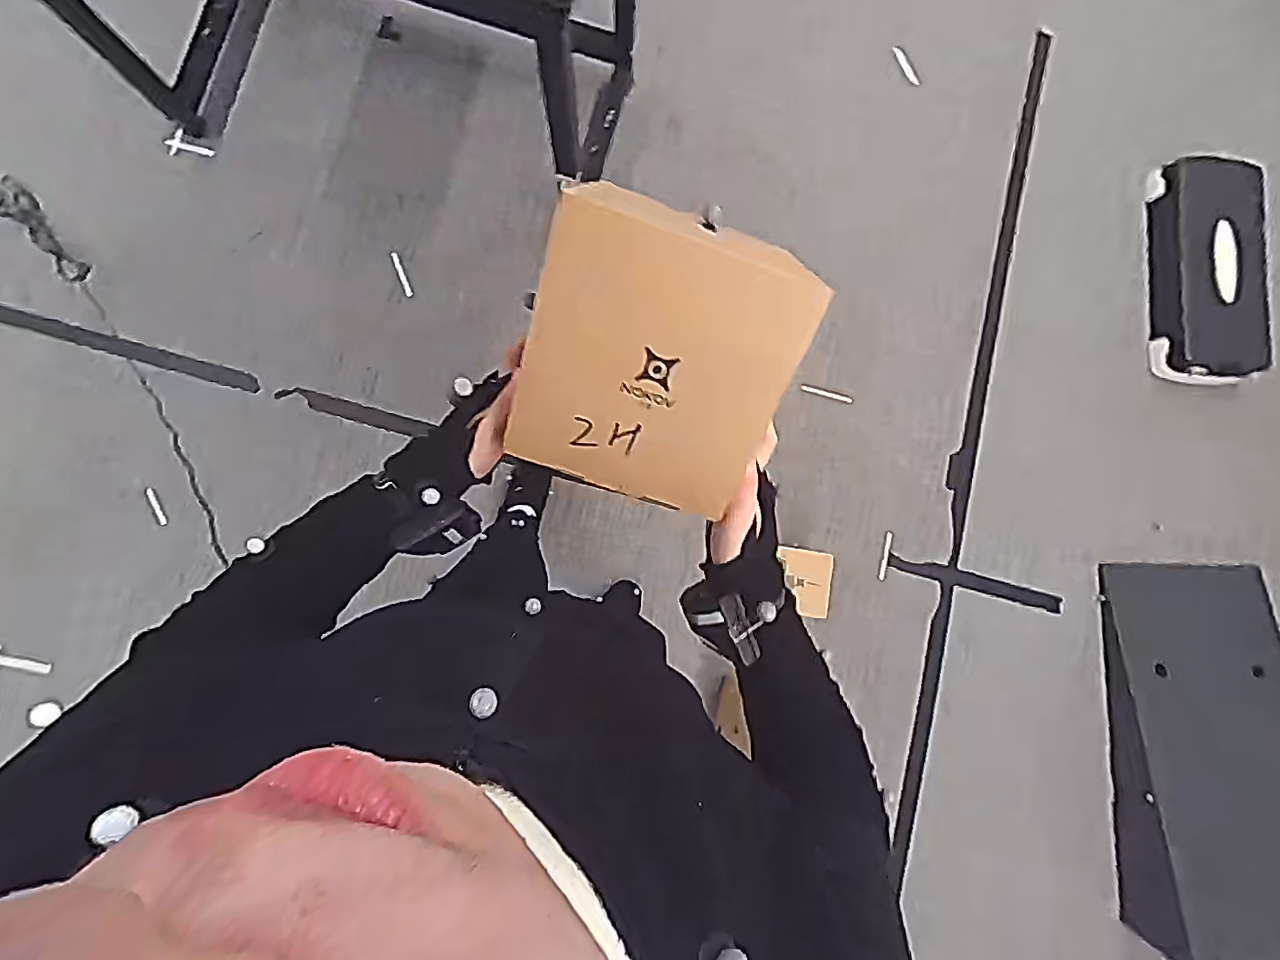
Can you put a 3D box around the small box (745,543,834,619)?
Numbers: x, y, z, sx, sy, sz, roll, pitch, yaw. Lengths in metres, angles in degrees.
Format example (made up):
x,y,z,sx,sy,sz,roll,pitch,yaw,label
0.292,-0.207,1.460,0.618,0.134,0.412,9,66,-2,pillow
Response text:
x,y,z,sx,sy,sz,roll,pitch,yaw,label
0.388,0.260,1.430,0.179,0.176,0.168,10,85,-3,small box

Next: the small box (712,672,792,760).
x,y,z,sx,sy,sz,roll,pitch,yaw,label
0.295,0.623,1.398,0.168,0.176,0.179,18,84,-2,small box

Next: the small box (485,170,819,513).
x,y,z,sx,sy,sz,roll,pitch,yaw,label
0.002,-0.109,0.402,0.168,0.176,0.179,17,120,-6,small box
